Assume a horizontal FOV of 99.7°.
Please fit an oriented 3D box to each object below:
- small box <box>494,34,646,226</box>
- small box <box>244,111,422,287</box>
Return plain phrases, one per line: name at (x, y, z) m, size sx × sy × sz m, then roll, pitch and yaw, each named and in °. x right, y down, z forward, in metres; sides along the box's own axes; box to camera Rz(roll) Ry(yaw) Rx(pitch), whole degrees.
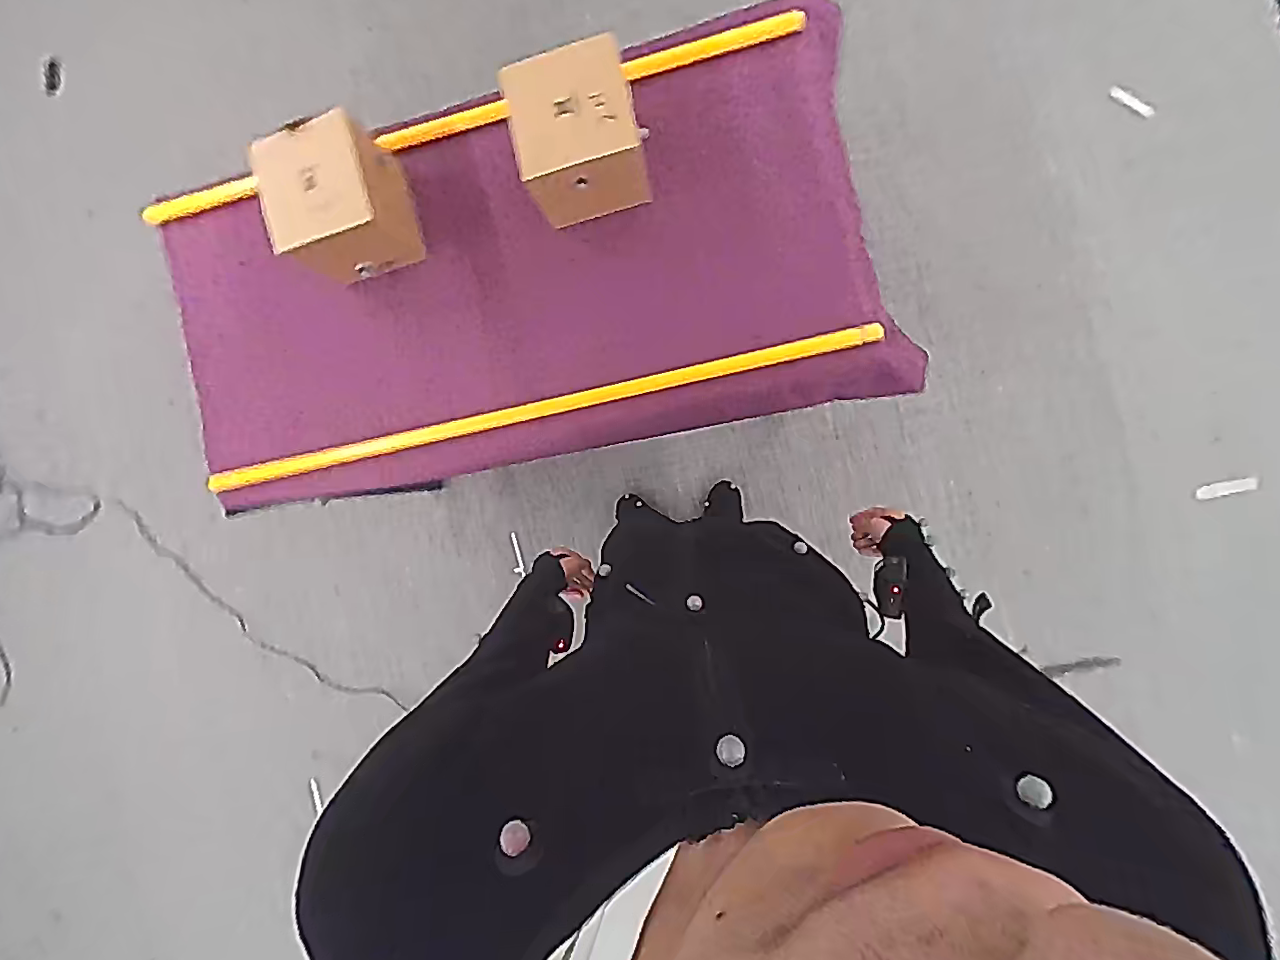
small box at (-0.099, -0.525, 0.840) m, size 0.179 × 0.176 × 0.168 m, roll -13°, pitch 91°, yaw 6°
small box at (-0.490, -0.445, 0.885) m, size 0.168 × 0.176 × 0.179 m, roll -16°, pitch 90°, yaw 7°
